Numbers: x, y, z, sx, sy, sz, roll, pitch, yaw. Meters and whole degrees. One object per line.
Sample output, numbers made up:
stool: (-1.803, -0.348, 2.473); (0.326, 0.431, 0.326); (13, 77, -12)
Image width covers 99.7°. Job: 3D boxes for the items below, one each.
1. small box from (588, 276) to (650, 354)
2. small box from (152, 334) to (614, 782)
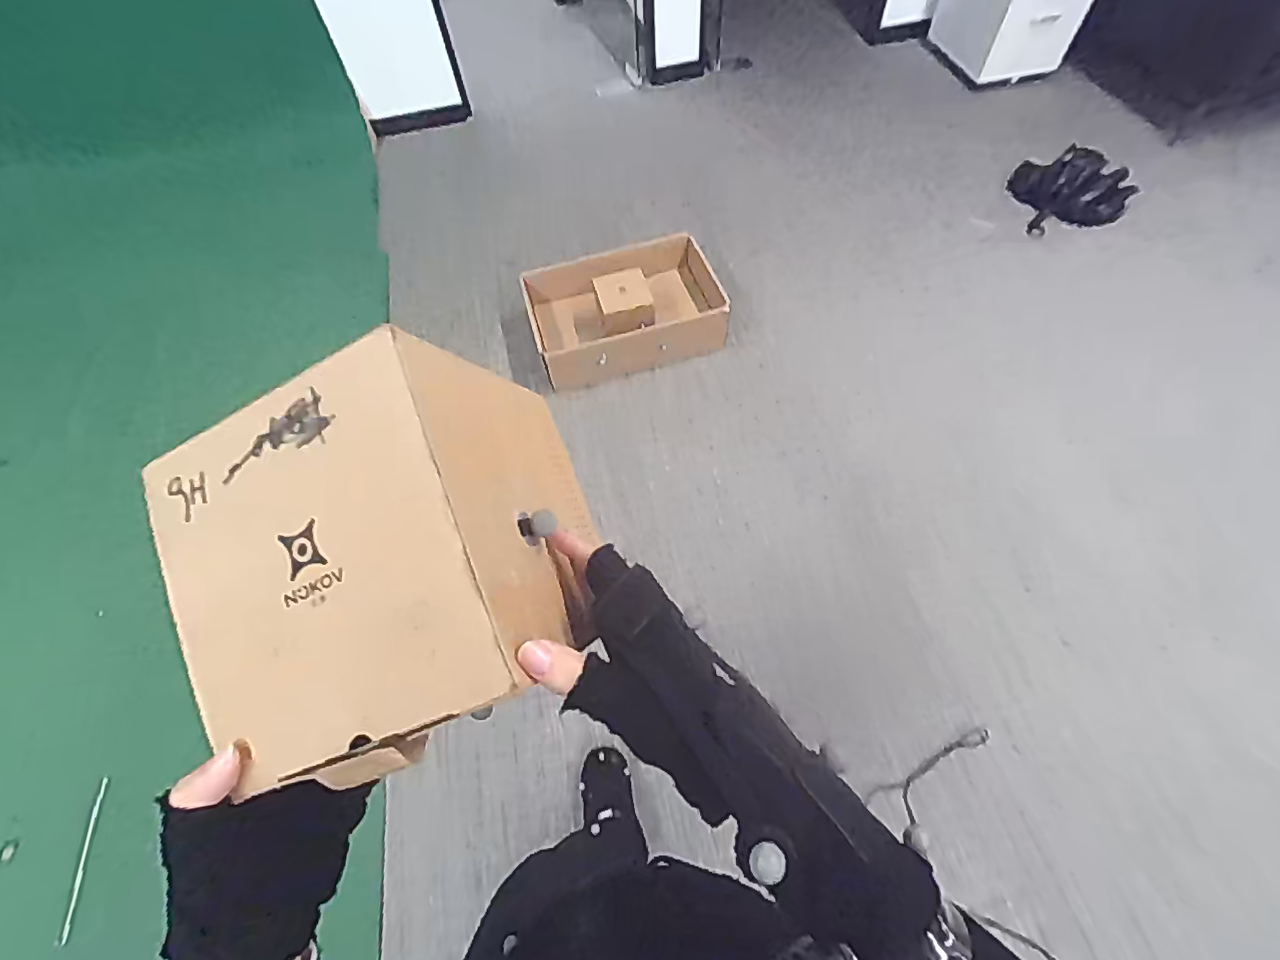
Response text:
small box: (-0.067, -0.539, 1.791); (0.168, 0.176, 0.179); (-14, 58, -7)
small box: (-0.135, 0.042, 0.336); (0.168, 0.176, 0.179); (-24, 82, 12)
